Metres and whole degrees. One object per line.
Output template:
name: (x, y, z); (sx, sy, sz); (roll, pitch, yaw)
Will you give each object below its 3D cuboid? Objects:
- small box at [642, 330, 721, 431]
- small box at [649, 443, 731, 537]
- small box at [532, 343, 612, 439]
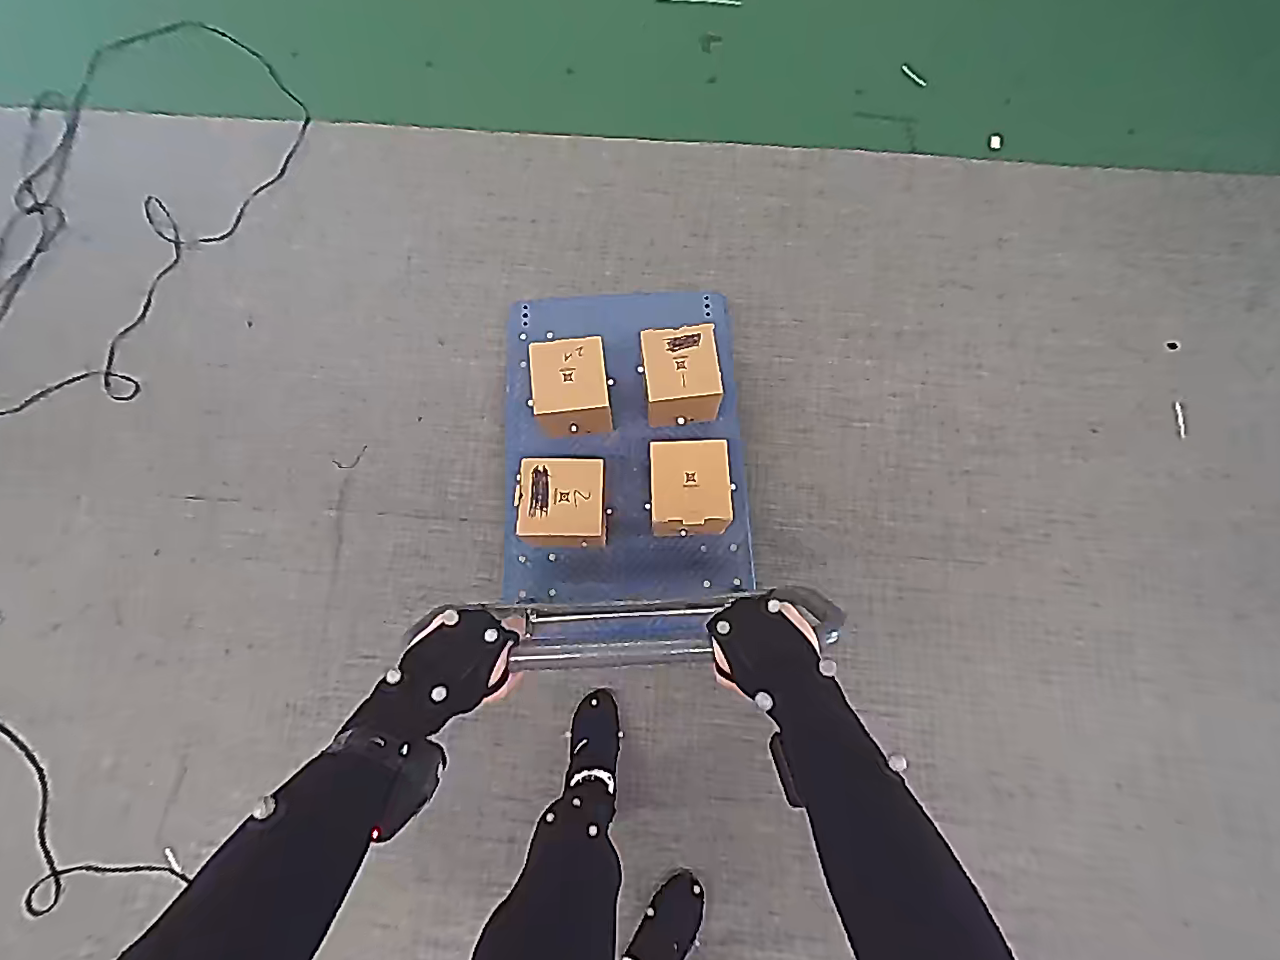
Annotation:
small box: (0.092, -0.234, 1.296); (0.168, 0.176, 0.179); (-7, 75, 0)
small box: (0.107, 0.027, 1.225); (0.168, 0.176, 0.179); (-2, 75, 0)
small box: (-0.158, -0.204, 1.290); (0.168, 0.176, 0.179); (-6, 75, -2)
